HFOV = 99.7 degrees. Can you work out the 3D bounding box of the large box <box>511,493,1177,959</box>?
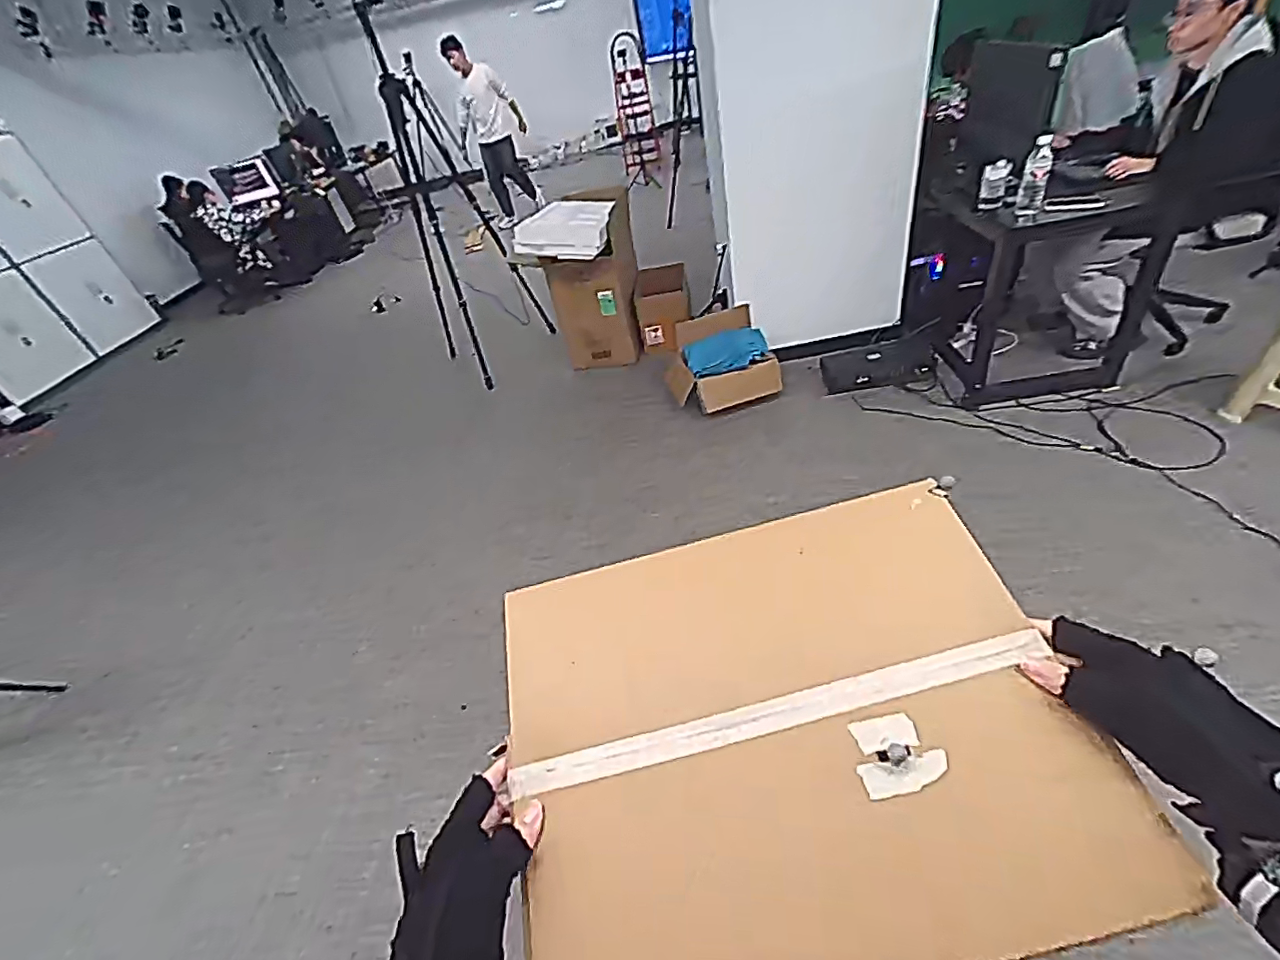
[{"bbox_3d":[0.126,0.270,0.531,0.408,0.320,0.320,-16,53,0],"label":"large box"}]
